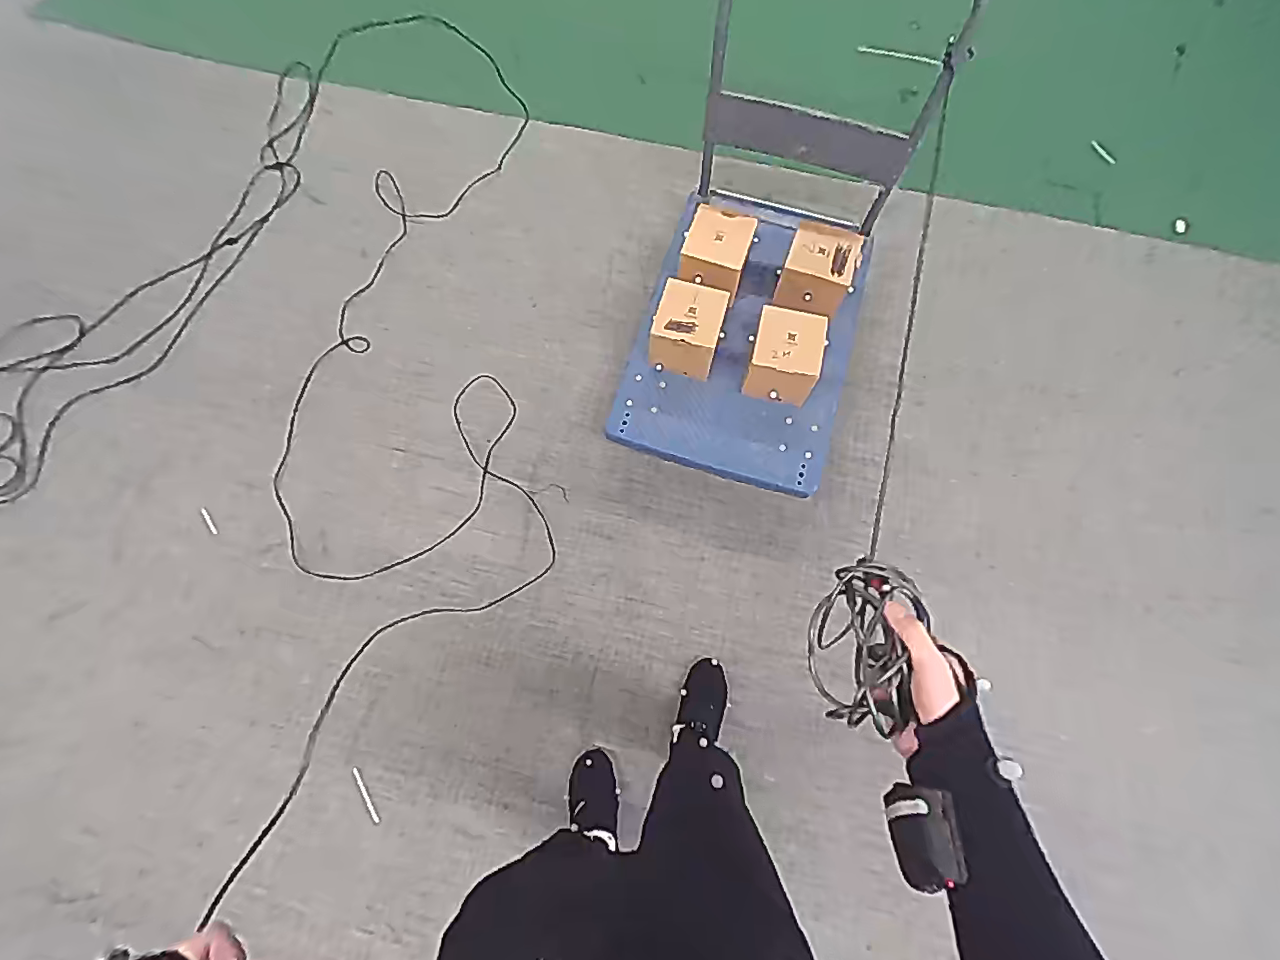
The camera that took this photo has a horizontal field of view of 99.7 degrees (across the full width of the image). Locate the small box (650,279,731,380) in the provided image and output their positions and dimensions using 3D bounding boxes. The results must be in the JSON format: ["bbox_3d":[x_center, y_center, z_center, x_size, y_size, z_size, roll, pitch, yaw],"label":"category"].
[{"bbox_3d":[0.128,-0.388,1.418,0.168,0.176,0.179,16,72,4],"label":"small box"}]

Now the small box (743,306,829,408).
[{"bbox_3d":[0.370,-0.313,1.395,0.168,0.176,0.179,14,73,5],"label":"small box"}]

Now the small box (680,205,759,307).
[{"bbox_3d":[0.212,-0.610,1.491,0.168,0.176,0.179,19,73,6],"label":"small box"}]
